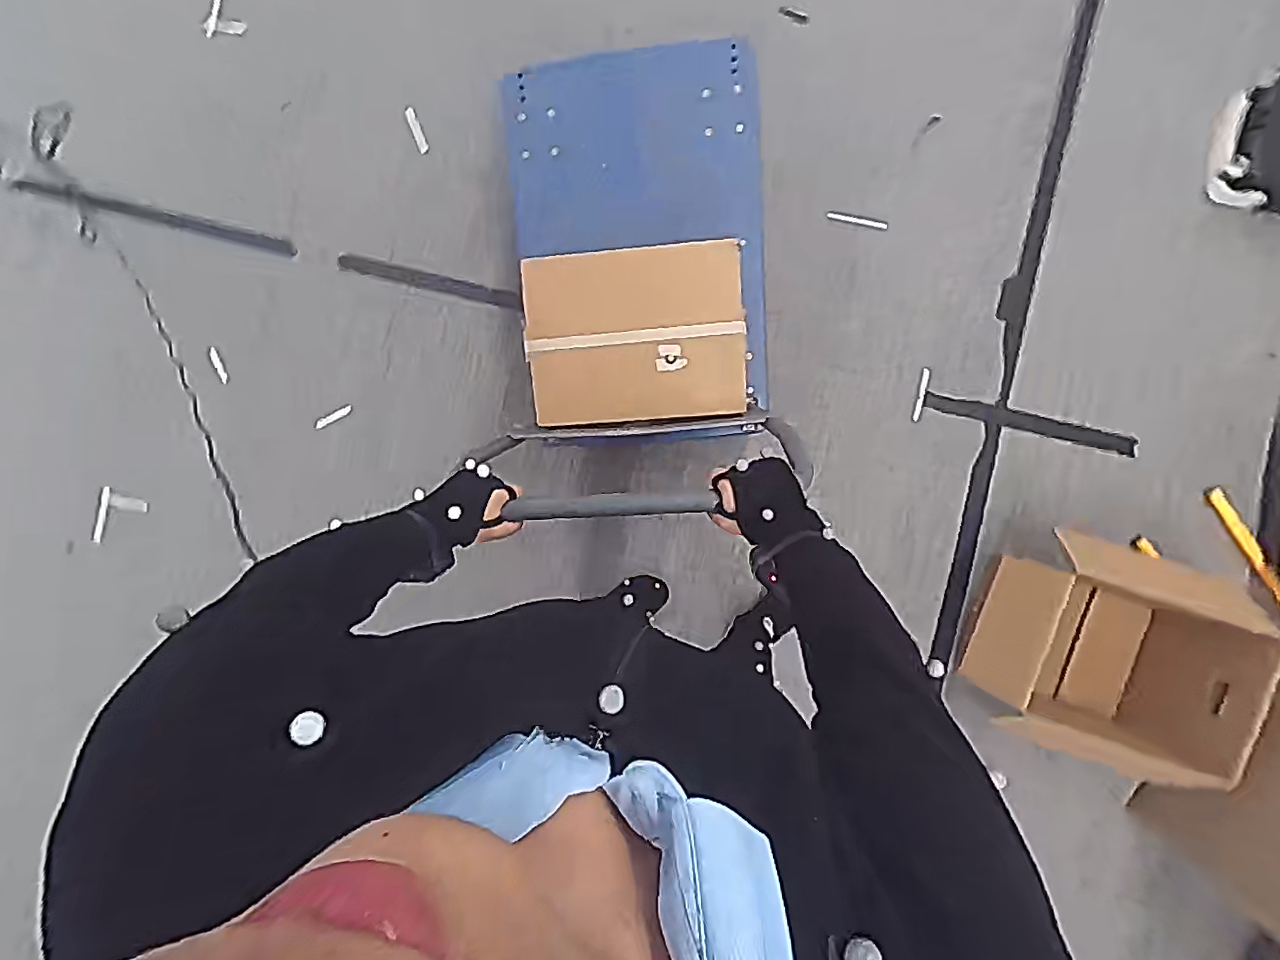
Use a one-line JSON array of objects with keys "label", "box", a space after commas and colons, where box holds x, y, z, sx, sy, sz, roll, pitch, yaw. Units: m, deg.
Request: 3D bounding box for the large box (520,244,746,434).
[{"label": "large box", "box": [-0.003, -0.277, 1.149, 0.408, 0.320, 0.320, -4, 99, 5]}]
